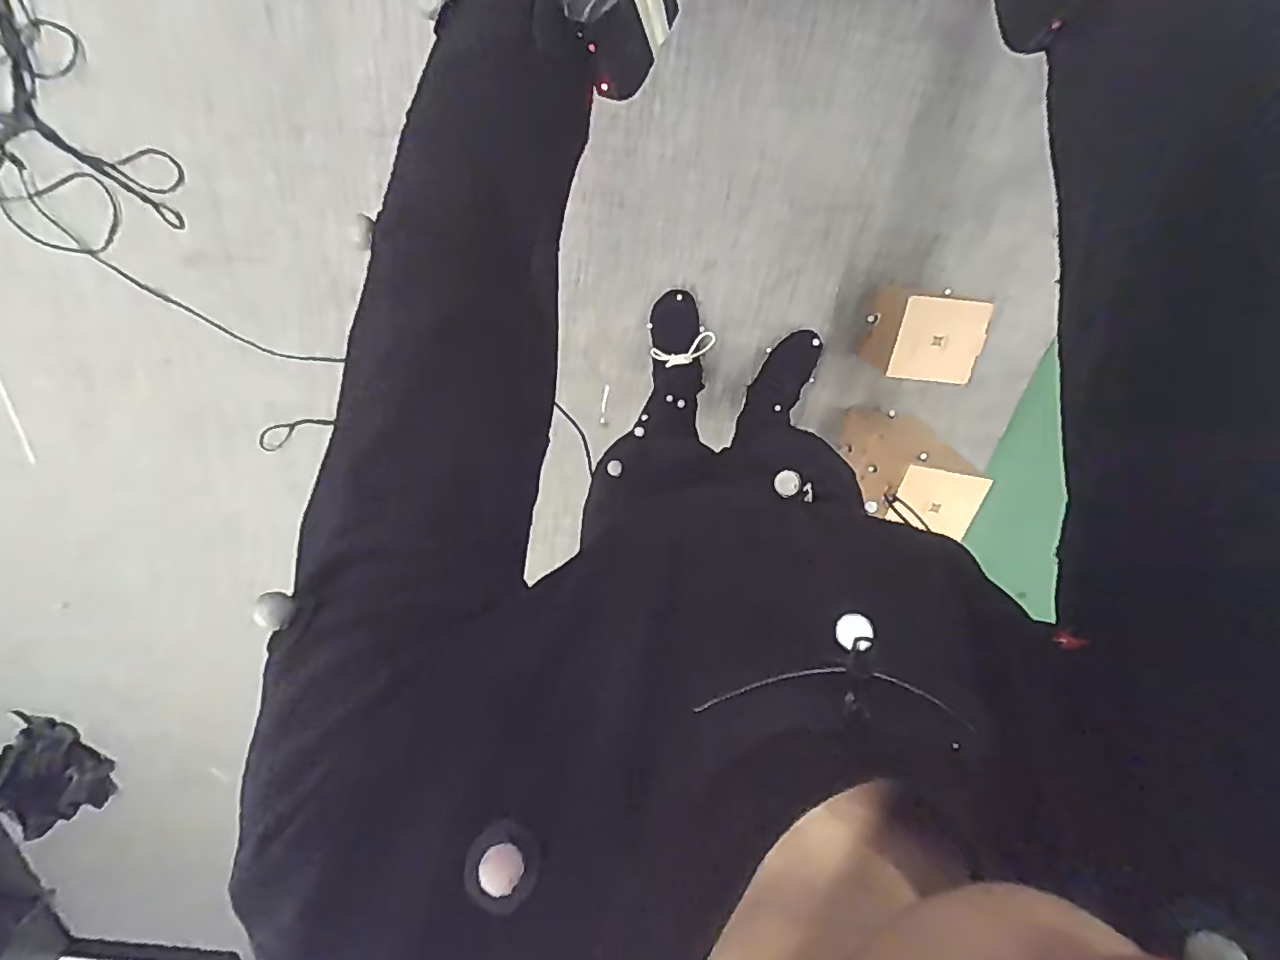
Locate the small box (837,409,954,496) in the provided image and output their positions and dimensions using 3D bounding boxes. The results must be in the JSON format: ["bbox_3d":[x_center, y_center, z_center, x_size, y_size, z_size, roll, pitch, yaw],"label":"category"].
[{"bbox_3d":[0.590,-0.057,1.279,0.179,0.176,0.168,9,118,-1],"label":"small box"}]

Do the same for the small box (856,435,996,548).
[{"bbox_3d":[0.586,0.019,1.135,0.179,0.176,0.168,10,117,-3],"label":"small box"}]

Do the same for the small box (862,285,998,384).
[{"bbox_3d":[0.603,-0.314,1.150,0.179,0.176,0.168,6,116,0],"label":"small box"}]
